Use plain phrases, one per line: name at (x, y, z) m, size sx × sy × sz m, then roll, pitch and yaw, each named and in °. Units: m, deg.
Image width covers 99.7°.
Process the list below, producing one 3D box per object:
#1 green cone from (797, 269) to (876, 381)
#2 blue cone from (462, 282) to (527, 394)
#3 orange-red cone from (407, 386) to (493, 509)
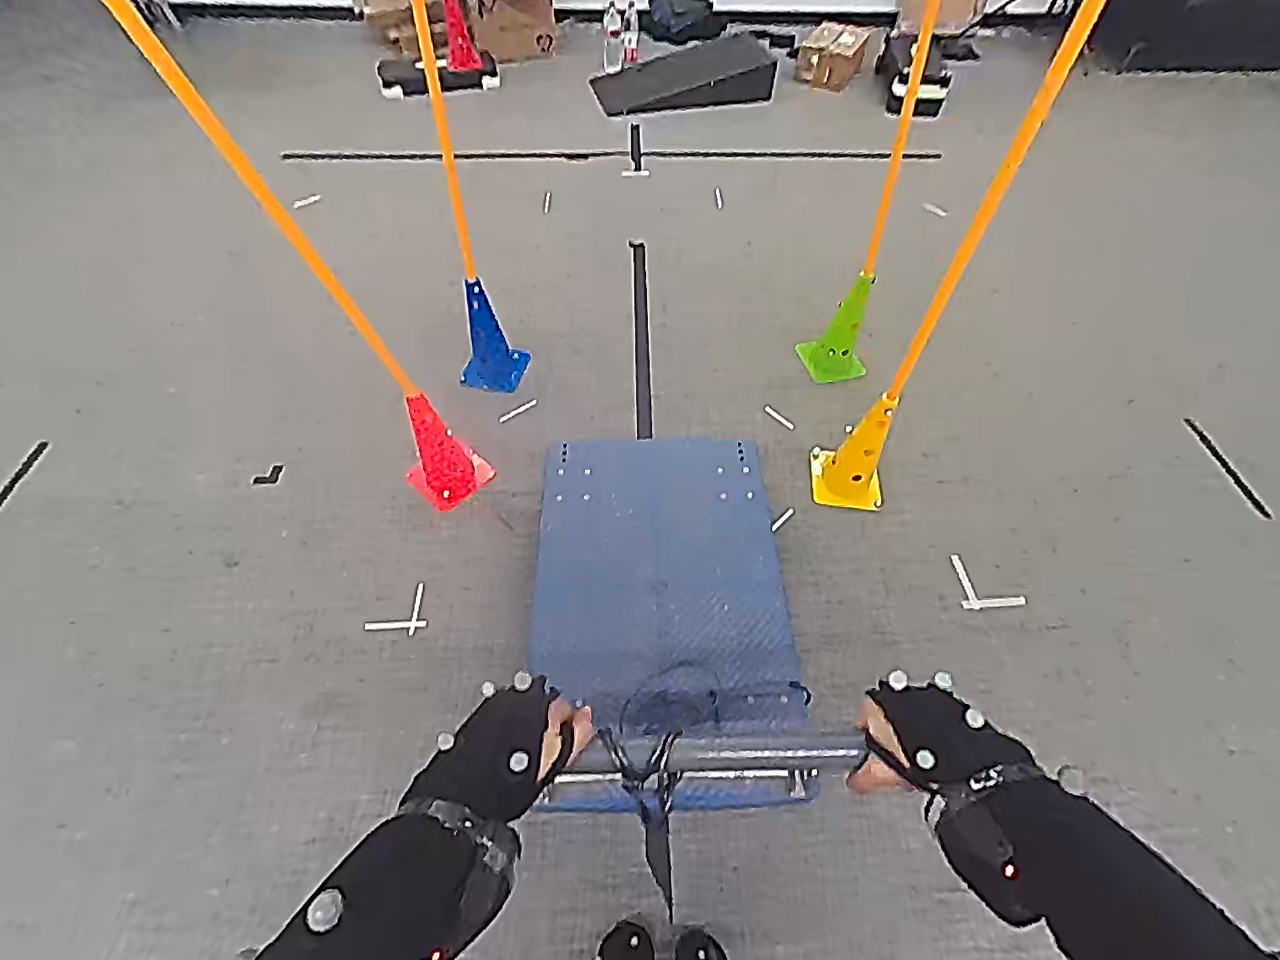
green cone at (0.684, -0.532, 1.784) m, size 0.200 × 0.368 × 0.202 m, roll -12°, pitch 58°, yaw -10°
blue cone at (-0.495, -0.470, 1.731) m, size 0.193 × 0.380 × 0.192 m, roll 12°, pitch 57°, yaw 6°
orange-red cone at (-0.559, -0.118, 1.469) m, size 0.198 × 0.360 × 0.199 m, roll 39°, pitch 62°, yaw 22°
